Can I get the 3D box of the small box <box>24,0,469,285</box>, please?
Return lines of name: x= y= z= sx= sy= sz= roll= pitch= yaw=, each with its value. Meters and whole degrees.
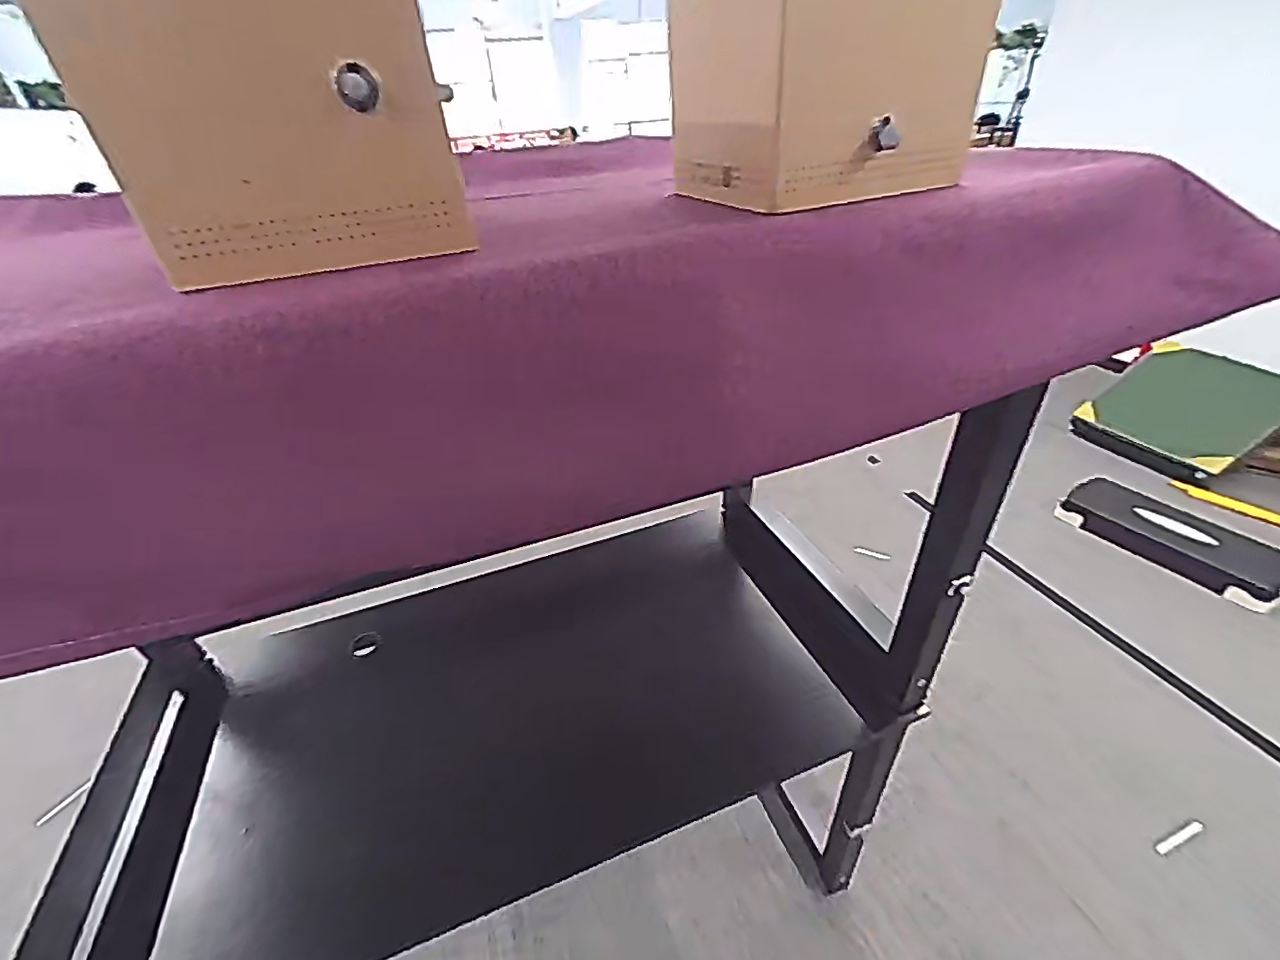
small box: x=-0.216 y=-0.238 z=0.348 sx=0.179 sy=0.176 sz=0.168 roll=-15 pitch=35 yaw=-14

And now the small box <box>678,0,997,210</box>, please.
small box: x=0.135 y=-0.317 z=0.414 sx=0.179 sy=0.176 sz=0.168 roll=-16 pitch=35 yaw=-16
